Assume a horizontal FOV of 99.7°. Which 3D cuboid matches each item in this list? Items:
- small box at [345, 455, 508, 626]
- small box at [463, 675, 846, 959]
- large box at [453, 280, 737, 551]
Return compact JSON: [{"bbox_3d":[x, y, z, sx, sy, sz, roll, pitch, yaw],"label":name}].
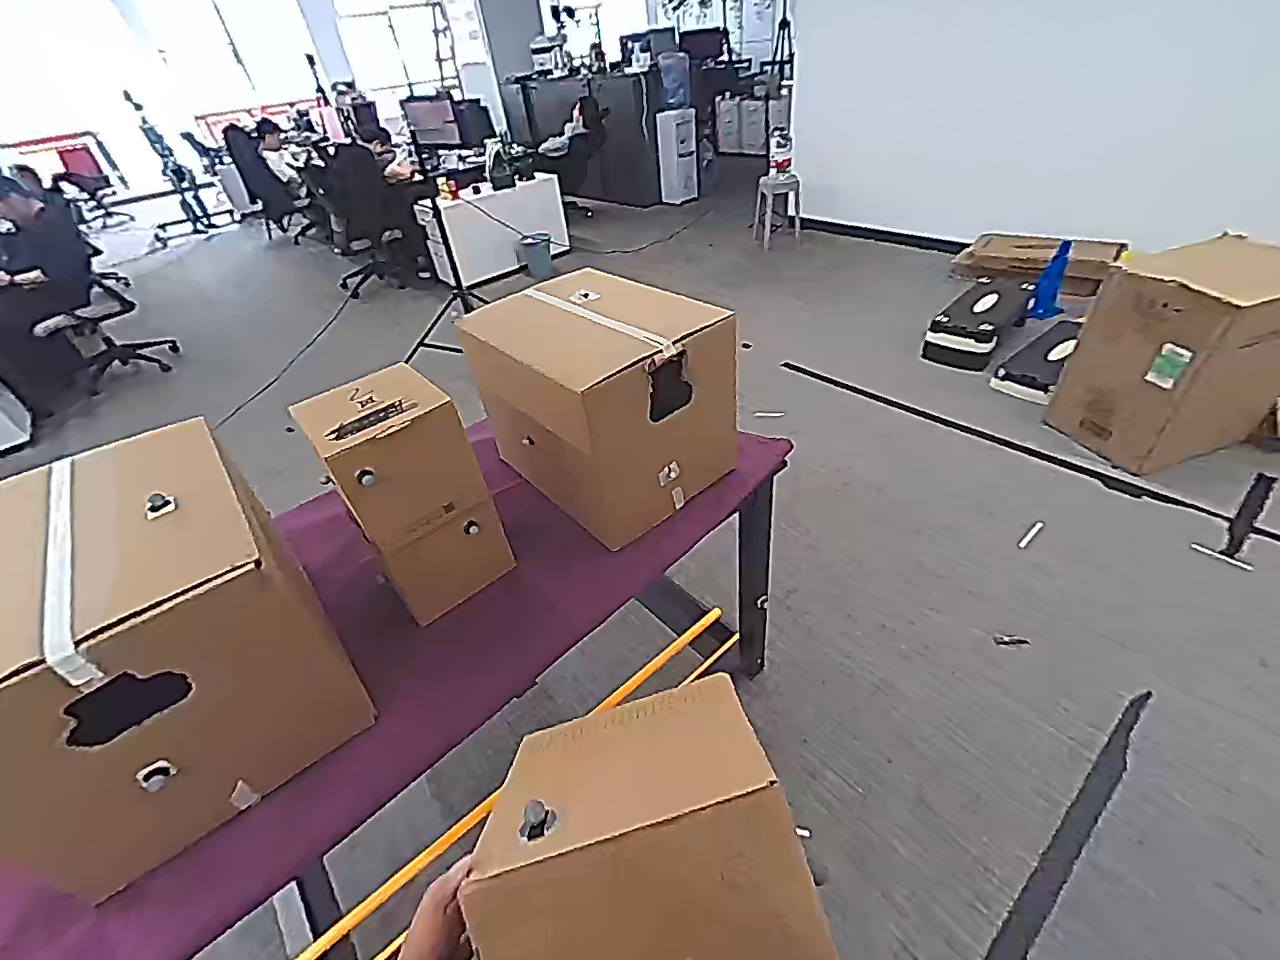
[{"bbox_3d":[-0.329,0.093,0.867,0.179,0.176,0.168,-32,44,-28],"label":"small box"},{"bbox_3d":[0.015,0.252,0.354,0.179,0.168,0.176,-19,-1,1],"label":"small box"},{"bbox_3d":[-0.072,-0.139,1.000,0.320,0.320,0.408,-32,43,-27],"label":"large box"}]
